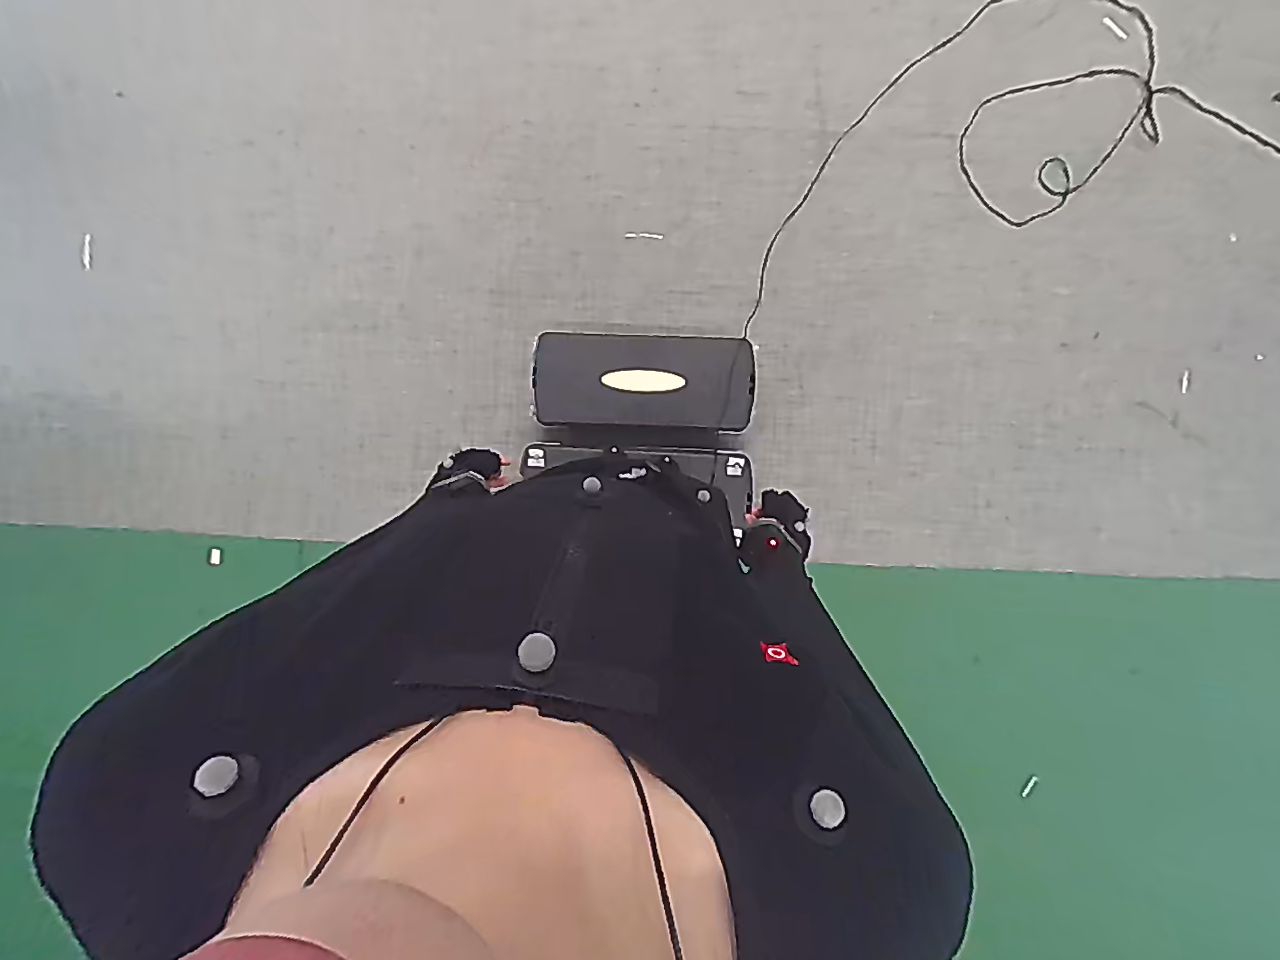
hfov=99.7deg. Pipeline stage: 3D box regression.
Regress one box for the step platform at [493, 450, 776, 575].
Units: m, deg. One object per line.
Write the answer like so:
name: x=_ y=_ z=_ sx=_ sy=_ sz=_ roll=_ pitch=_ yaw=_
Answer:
step platform: x=-0.012 y=0.076 z=1.393 sx=0.684 sy=0.204 sz=0.286 roll=2 pitch=92 yaw=-1
